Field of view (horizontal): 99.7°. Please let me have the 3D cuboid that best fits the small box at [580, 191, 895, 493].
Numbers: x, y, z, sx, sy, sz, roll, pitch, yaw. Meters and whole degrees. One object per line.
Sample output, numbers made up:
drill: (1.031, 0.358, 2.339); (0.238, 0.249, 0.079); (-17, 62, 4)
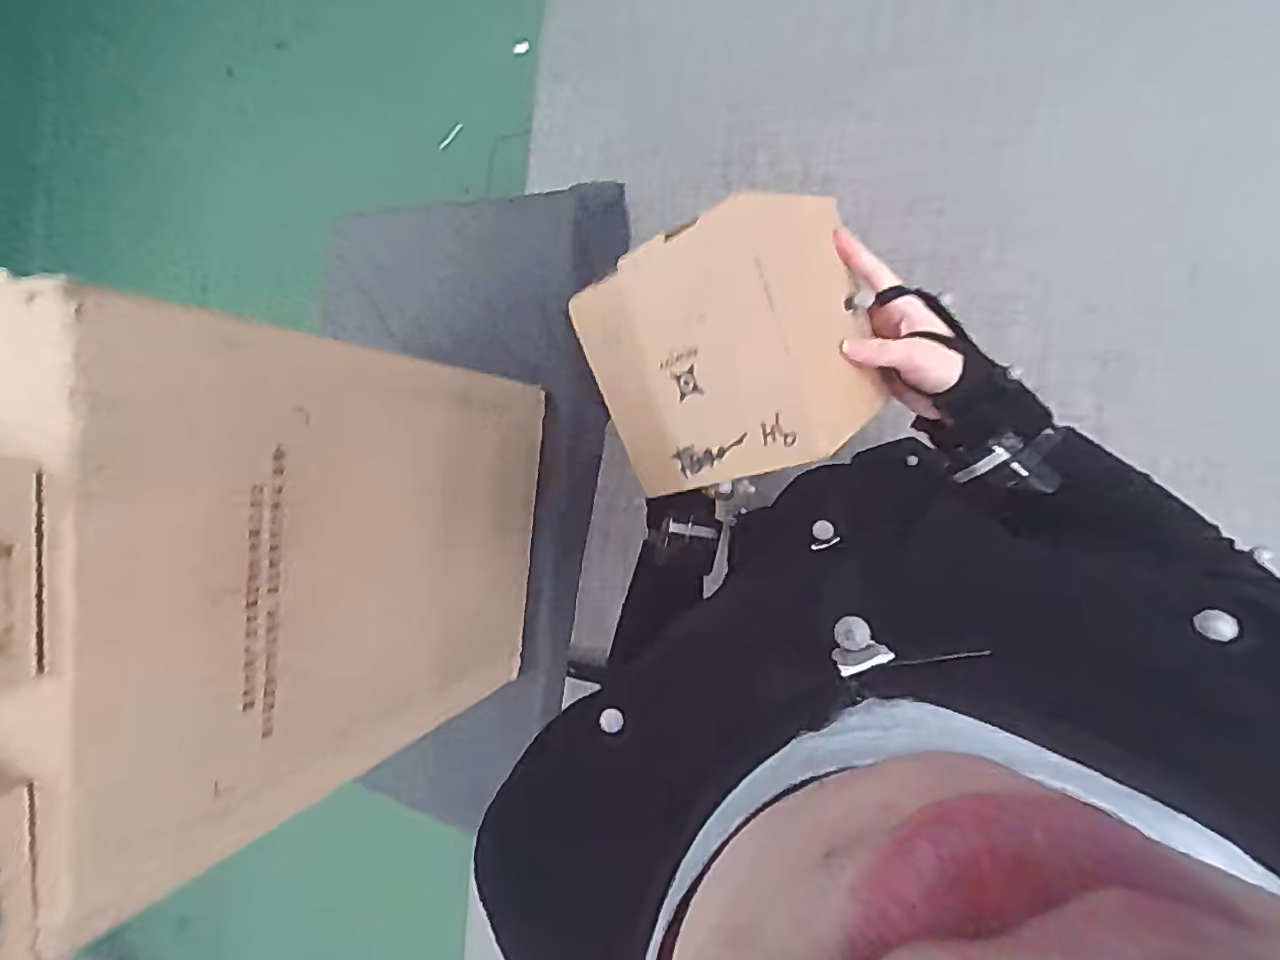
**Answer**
small box: (0.088, -0.110, 0.451); (0.168, 0.176, 0.179); (-15, 101, 44)
